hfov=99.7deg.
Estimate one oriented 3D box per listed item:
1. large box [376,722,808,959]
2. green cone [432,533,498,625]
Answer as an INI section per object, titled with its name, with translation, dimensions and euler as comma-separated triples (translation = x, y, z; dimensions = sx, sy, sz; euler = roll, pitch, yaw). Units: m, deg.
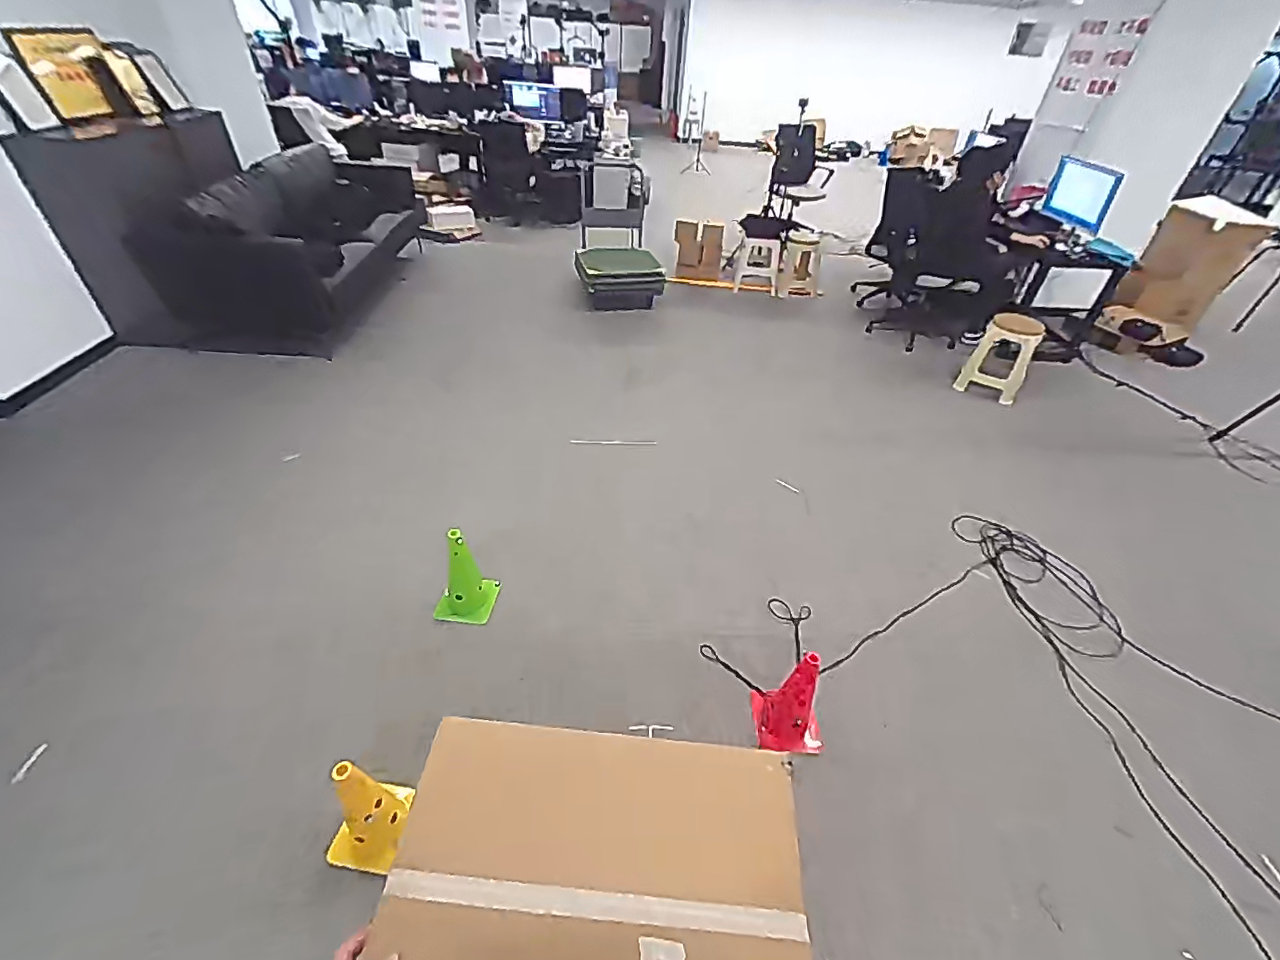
[large box]
translation = -0.047, 0.511, 0.632
dimensions = 0.408, 0.320, 0.320
euler = 5, 47, 1
[green cone]
translation = -0.638, 0.318, 1.899
dimensions = 0.200, 0.368, 0.202
euler = 5, 41, 2
